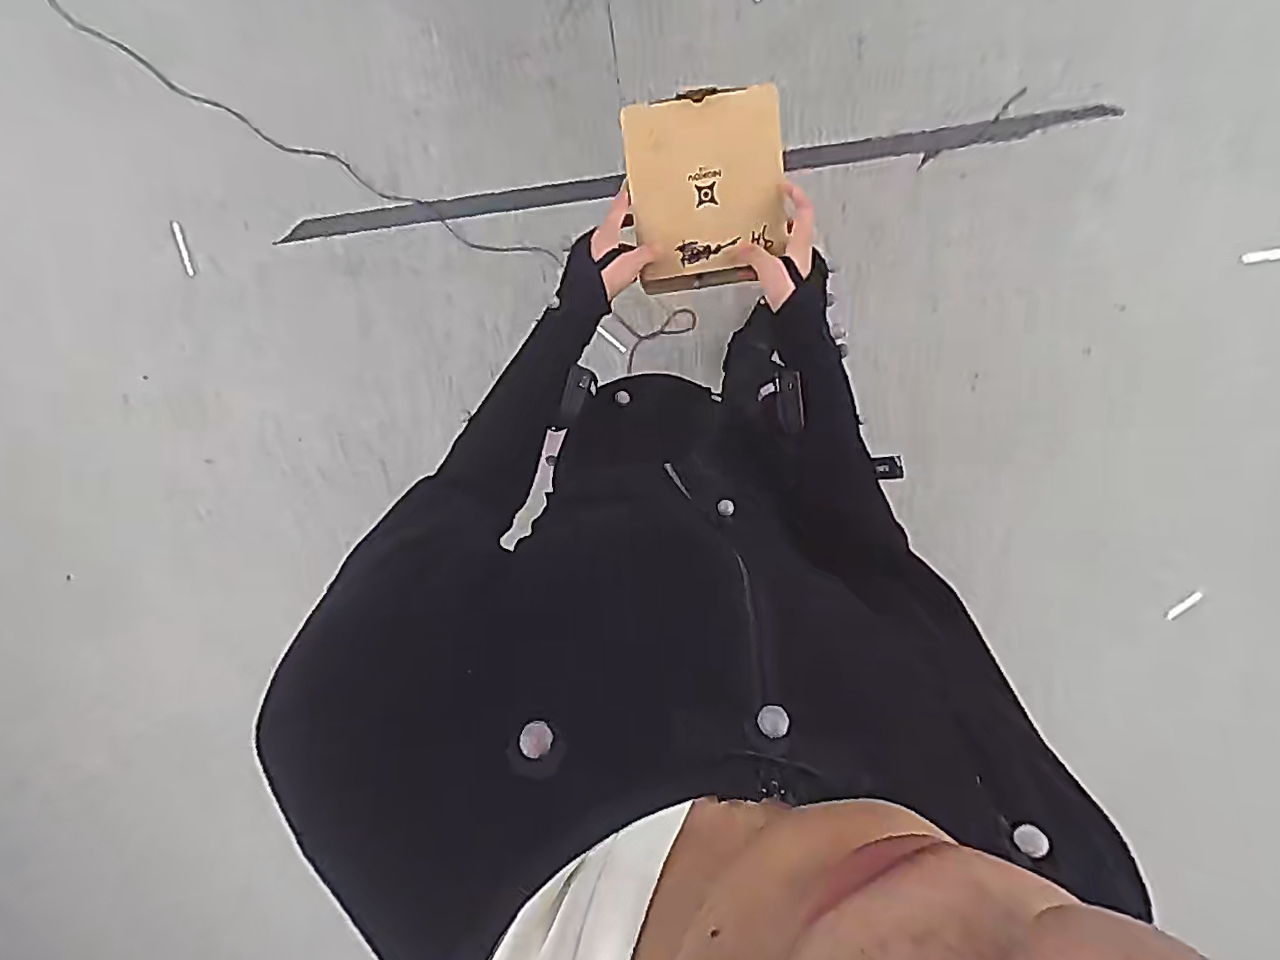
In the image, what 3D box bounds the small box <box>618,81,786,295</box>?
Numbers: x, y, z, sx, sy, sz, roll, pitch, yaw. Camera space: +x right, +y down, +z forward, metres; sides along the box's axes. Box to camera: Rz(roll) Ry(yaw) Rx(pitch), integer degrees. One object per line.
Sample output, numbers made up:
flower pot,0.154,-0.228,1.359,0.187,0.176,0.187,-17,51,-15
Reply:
small box,0.069,-0.329,0.645,0.168,0.176,0.179,-7,104,4
